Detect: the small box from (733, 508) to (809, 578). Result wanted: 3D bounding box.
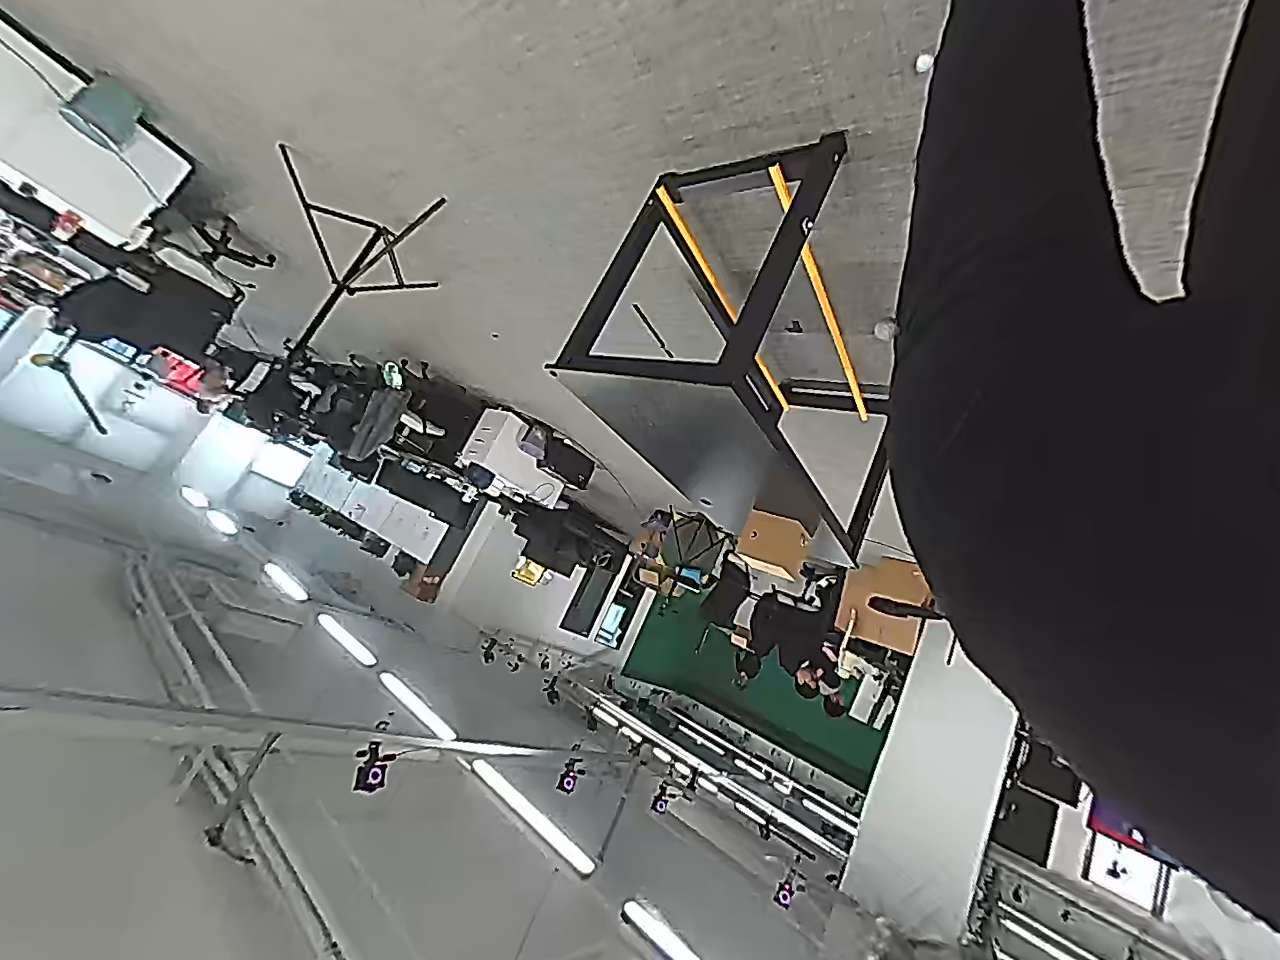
[{"bbox_3d":[0.450,0.209,1.841,0.179,0.176,0.168,14,164,39],"label":"small box"}]
